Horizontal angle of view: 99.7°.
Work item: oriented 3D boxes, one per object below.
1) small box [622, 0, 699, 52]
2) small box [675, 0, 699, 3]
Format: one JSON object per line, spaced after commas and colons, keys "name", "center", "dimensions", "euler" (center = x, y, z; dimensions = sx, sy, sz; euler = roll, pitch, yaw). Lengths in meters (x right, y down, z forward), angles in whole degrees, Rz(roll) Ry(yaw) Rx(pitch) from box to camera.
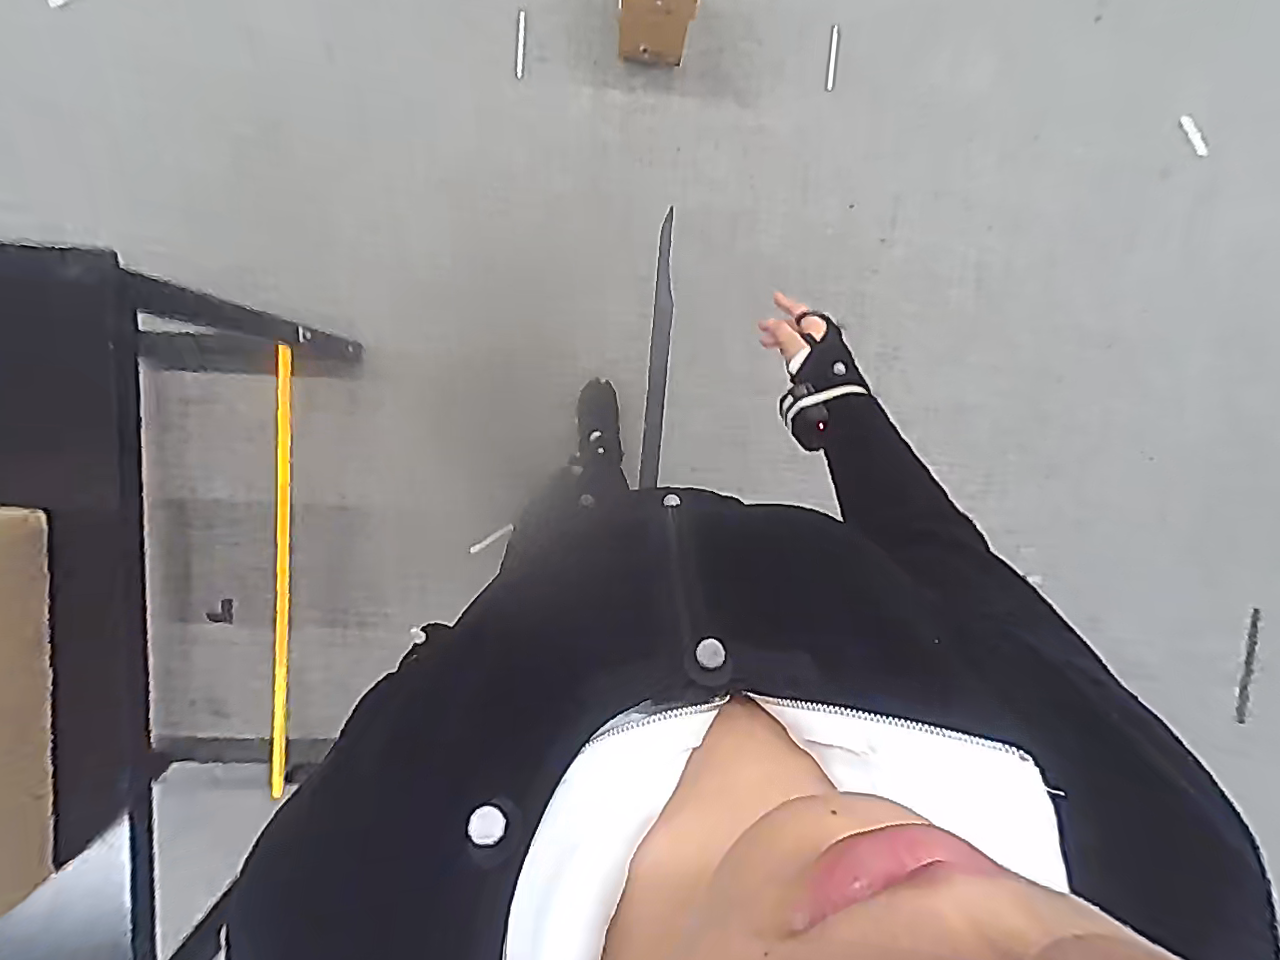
{"name": "small box", "center": [0.045, -1.112, 1.210], "dimensions": [0.168, 0.176, 0.179], "euler": [2, 97, -2]}
{"name": "small box", "center": [0.060, -1.088, 1.047], "dimensions": [0.168, 0.176, 0.179], "euler": [3, 96, -2]}
